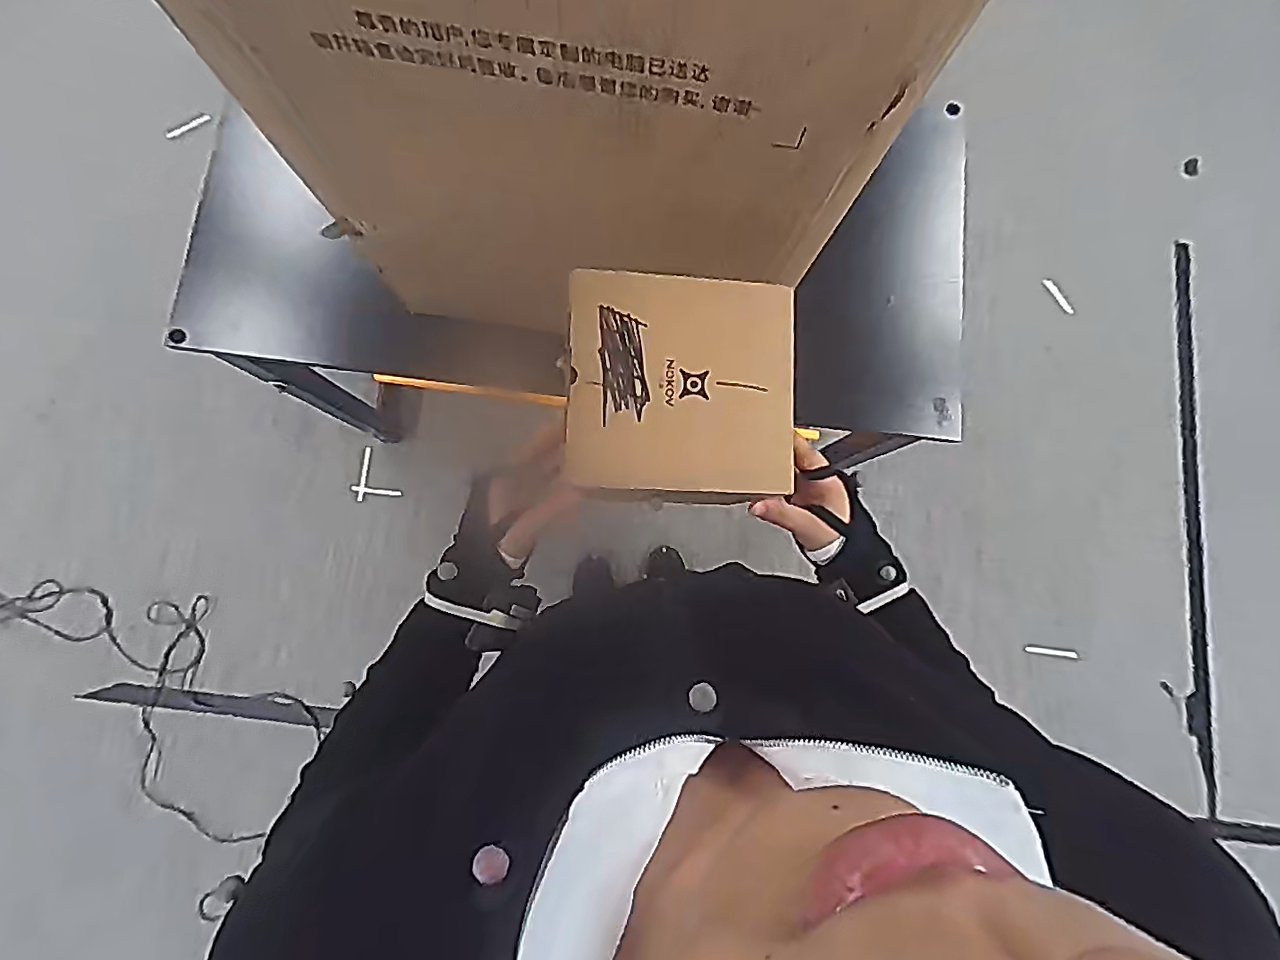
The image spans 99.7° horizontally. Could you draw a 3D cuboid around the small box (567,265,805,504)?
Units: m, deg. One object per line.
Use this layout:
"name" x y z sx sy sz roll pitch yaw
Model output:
"small box" 0.028 -0.066 0.476 0.179 0.176 0.168 2 84 -7
